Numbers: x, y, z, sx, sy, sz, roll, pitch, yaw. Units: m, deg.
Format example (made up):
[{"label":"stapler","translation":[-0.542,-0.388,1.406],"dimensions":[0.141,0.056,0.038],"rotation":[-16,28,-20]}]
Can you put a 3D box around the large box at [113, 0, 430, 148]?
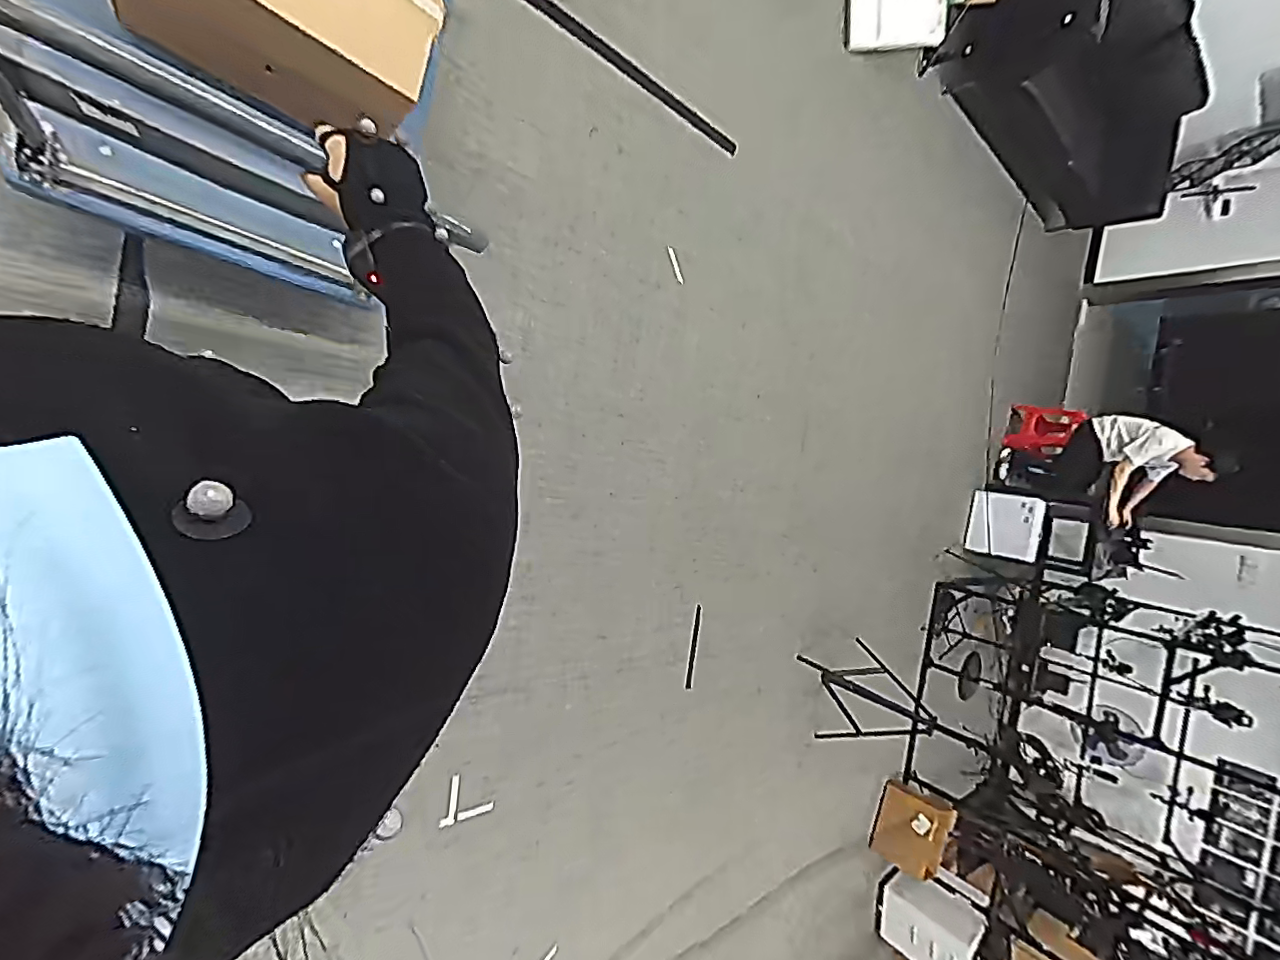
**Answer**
[{"label":"large box","translation":[-0.609,-0.868,0.927],"dimensions":[0.408,0.320,0.320],"rotation":[14,87,-40]}]
